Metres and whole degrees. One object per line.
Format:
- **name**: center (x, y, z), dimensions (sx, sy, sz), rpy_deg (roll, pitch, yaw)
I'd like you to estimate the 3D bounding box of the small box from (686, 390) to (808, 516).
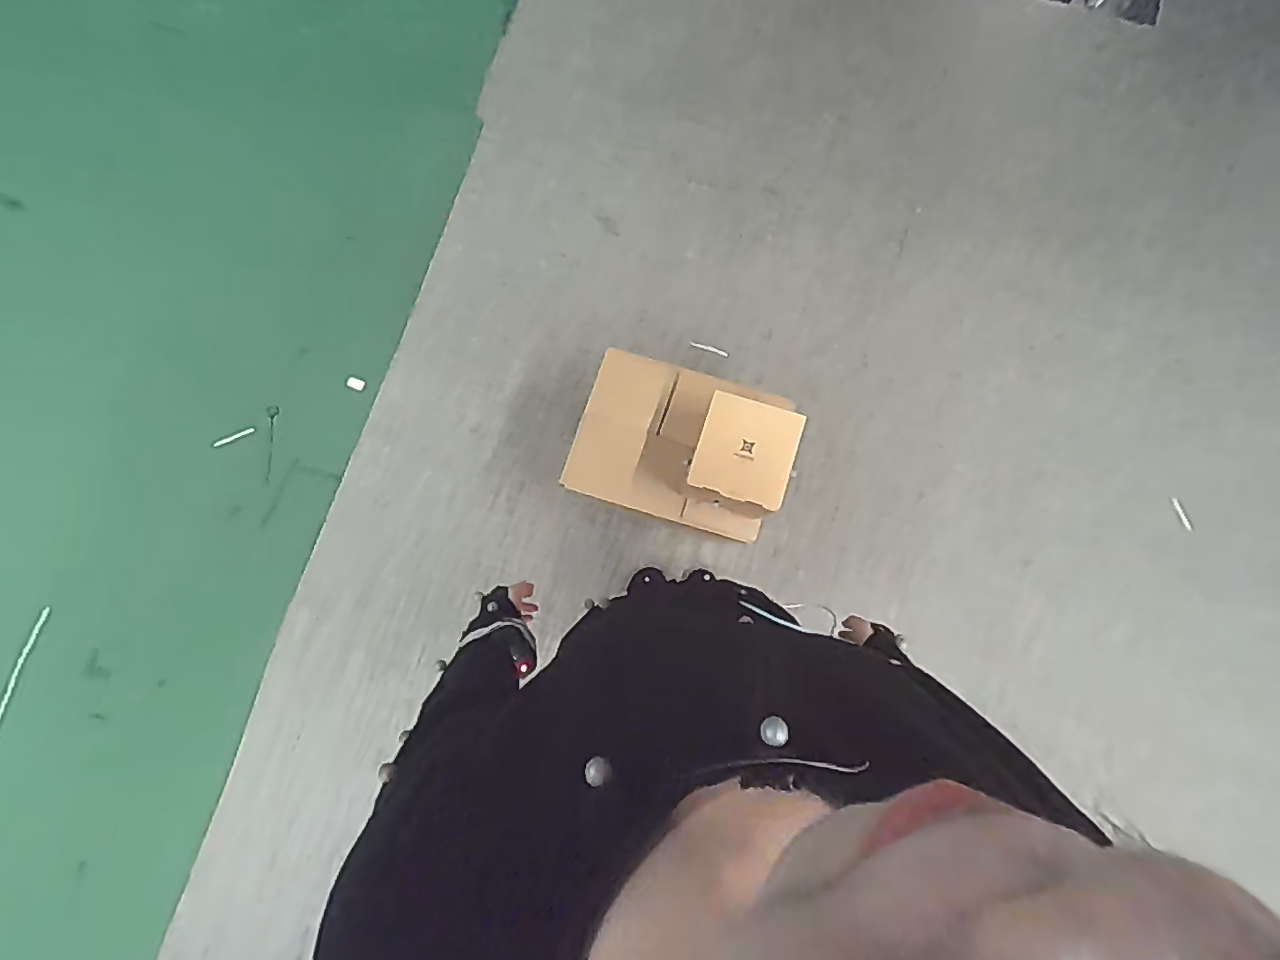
- **small box**: center (0.186, -0.041, 0.996), dimensions (0.168, 0.176, 0.179), rpy_deg (17, 84, 4)
